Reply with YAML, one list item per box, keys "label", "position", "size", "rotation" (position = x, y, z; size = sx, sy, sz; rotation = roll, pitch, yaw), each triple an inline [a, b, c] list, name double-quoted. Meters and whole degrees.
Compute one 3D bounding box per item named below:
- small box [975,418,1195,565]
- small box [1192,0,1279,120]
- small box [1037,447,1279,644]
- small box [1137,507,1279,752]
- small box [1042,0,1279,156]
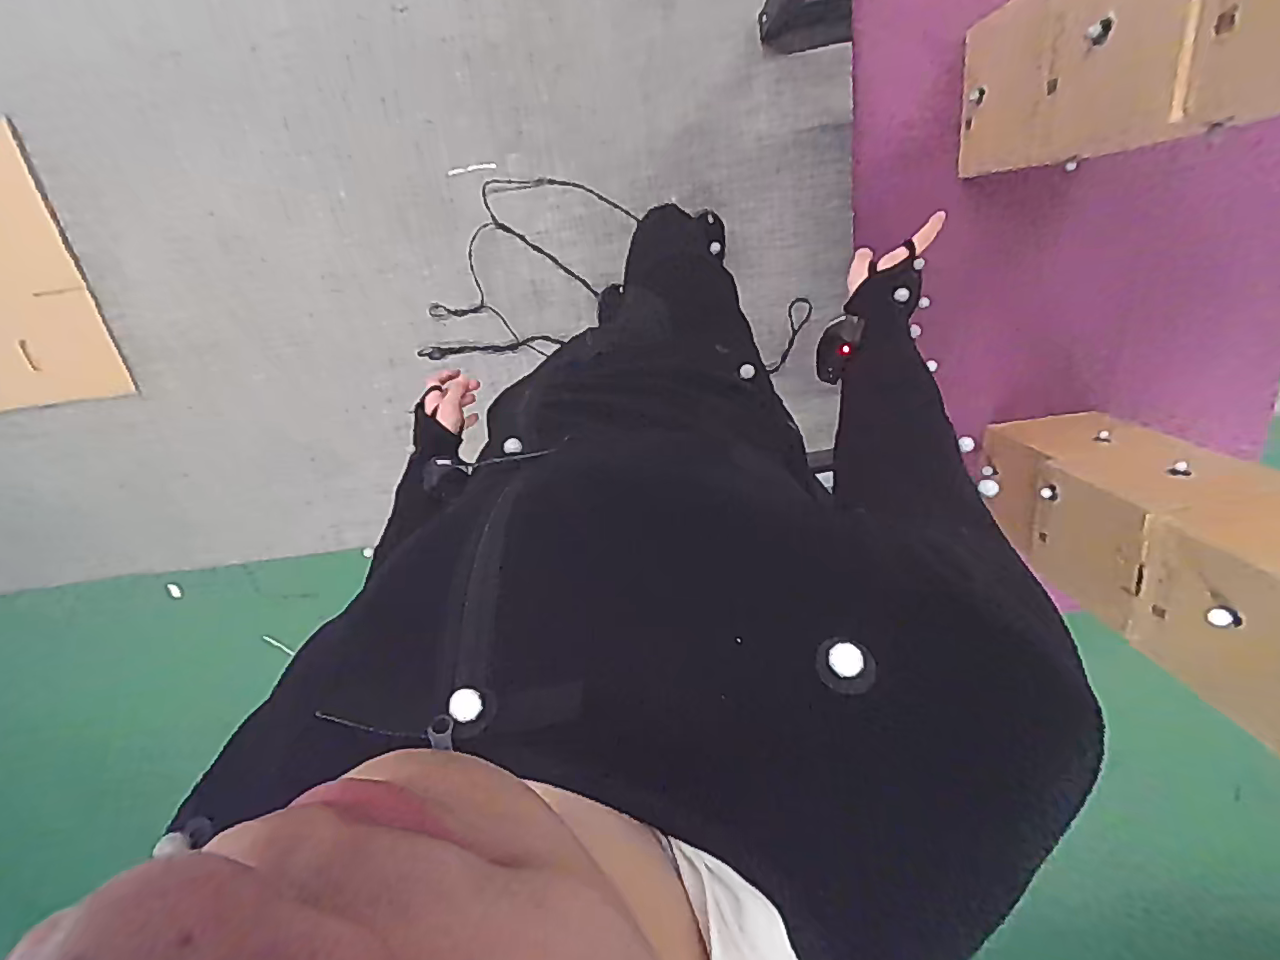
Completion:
- label: "small box"
  position: [0.643, 0.011, 0.806]
  size: [0.179, 0.176, 0.168]
  rotation: [-6, 111, 3]
- label: "small box"
  position: [0.500, -0.333, 0.311]
  size: [0.179, 0.176, 0.168]
  rotation: [-9, 111, 4]
- label: "small box"
  position: [0.625, 0.070, 0.654]
  size: [0.179, 0.176, 0.168]
  rotation: [-10, 110, 3]
- label: "small box"
  position: [0.627, 0.133, 0.504]
  size: [0.179, 0.176, 0.168]
  rotation: [-9, 110, 3]
- label: "small box"
  position: [0.493, -0.394, 0.464]
  size: [0.179, 0.176, 0.168]
  rotation: [-7, 112, 3]
